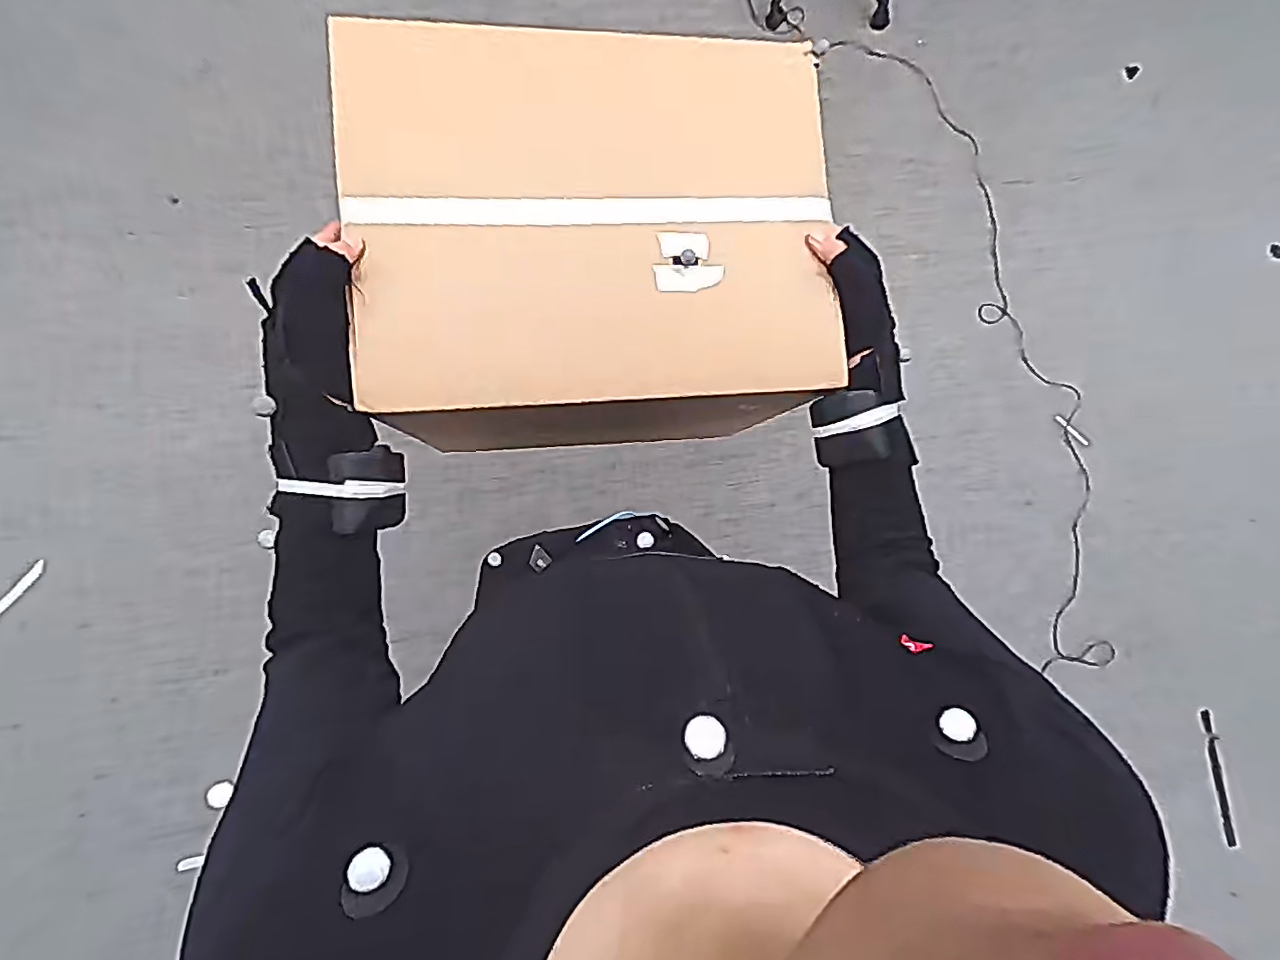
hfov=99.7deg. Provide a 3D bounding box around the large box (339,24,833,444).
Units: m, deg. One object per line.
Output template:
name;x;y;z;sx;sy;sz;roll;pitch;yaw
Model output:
large box;-0.058;-0.223;0.605;0.408;0.320;0.320;-4;89;-10
